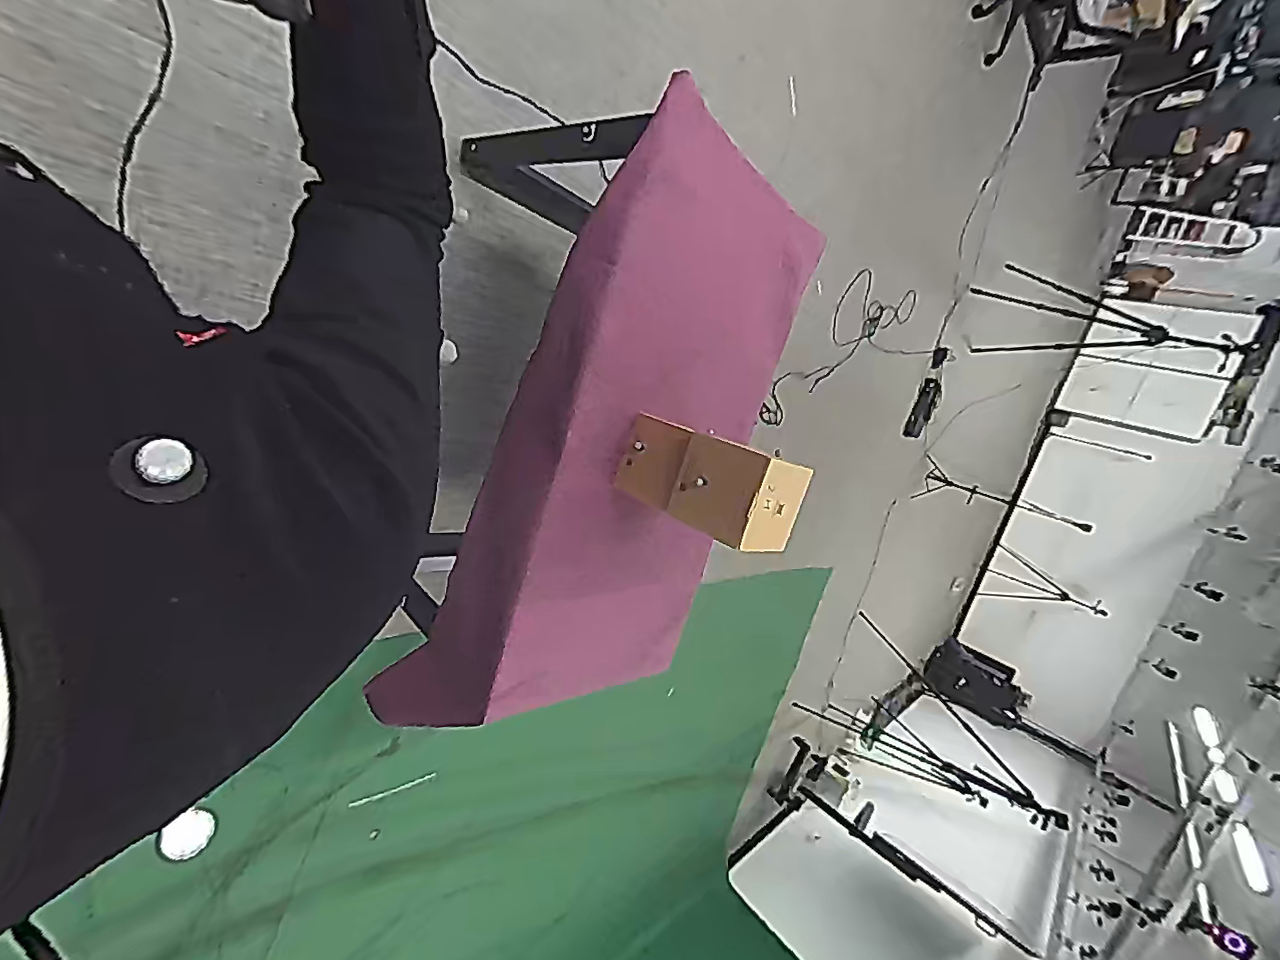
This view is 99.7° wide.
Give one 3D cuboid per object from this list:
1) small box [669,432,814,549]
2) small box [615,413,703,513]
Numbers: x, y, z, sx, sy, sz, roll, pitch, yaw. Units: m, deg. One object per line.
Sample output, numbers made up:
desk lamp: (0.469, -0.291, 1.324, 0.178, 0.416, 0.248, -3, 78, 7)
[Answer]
small box: (0.186, 0.019, 1.001, 0.179, 0.176, 0.168, 9, 101, -49)
small box: (0.082, -0.029, 1.119, 0.179, 0.176, 0.168, 12, 100, -49)
